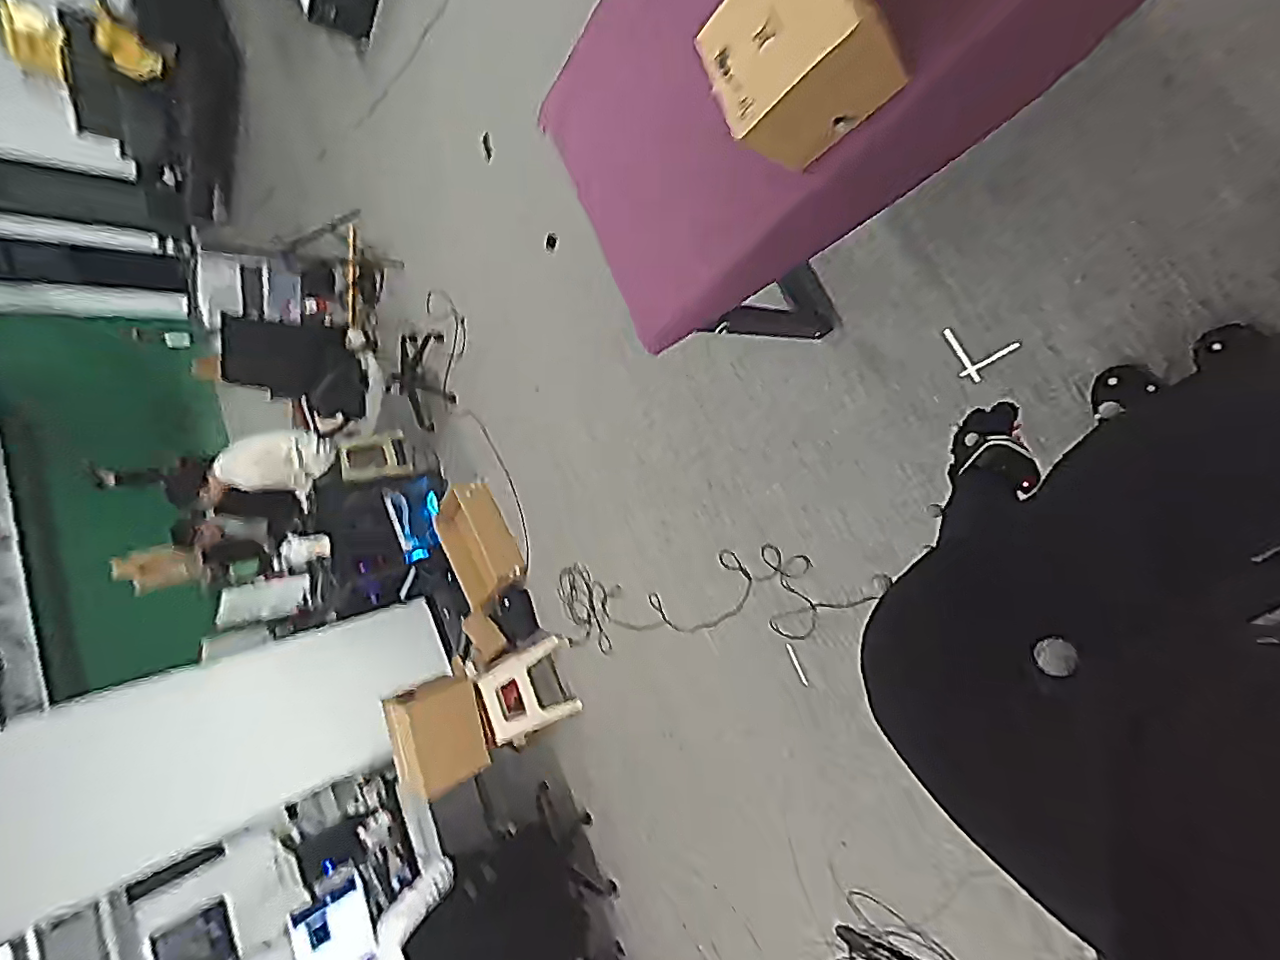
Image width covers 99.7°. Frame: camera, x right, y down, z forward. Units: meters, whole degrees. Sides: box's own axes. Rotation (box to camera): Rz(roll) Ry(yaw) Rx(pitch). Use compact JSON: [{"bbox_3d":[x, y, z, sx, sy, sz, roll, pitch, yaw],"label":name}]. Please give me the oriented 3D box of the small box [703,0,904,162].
[{"bbox_3d":[0.218,-0.562,0.705,0.179,0.176,0.168,-25,80,44],"label":"small box"}]
